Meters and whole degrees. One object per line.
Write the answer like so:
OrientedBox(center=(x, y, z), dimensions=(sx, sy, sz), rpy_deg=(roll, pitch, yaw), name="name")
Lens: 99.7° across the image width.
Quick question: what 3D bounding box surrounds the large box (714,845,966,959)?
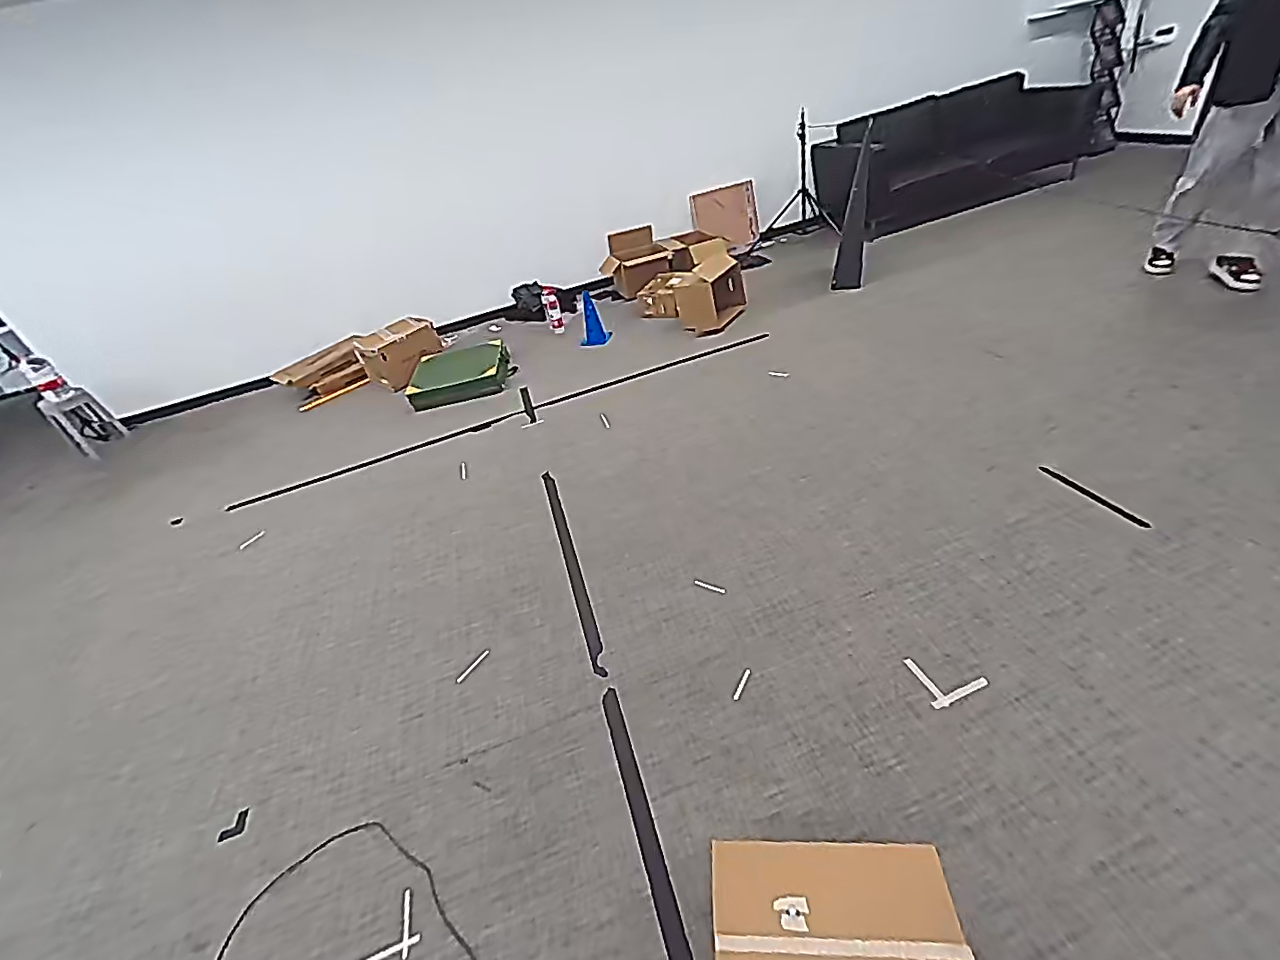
OrientedBox(center=(0.359, 0.900, 0.984), dimensions=(0.408, 0.320, 0.320), rpy_deg=(-7, 35, 10), name="large box")
